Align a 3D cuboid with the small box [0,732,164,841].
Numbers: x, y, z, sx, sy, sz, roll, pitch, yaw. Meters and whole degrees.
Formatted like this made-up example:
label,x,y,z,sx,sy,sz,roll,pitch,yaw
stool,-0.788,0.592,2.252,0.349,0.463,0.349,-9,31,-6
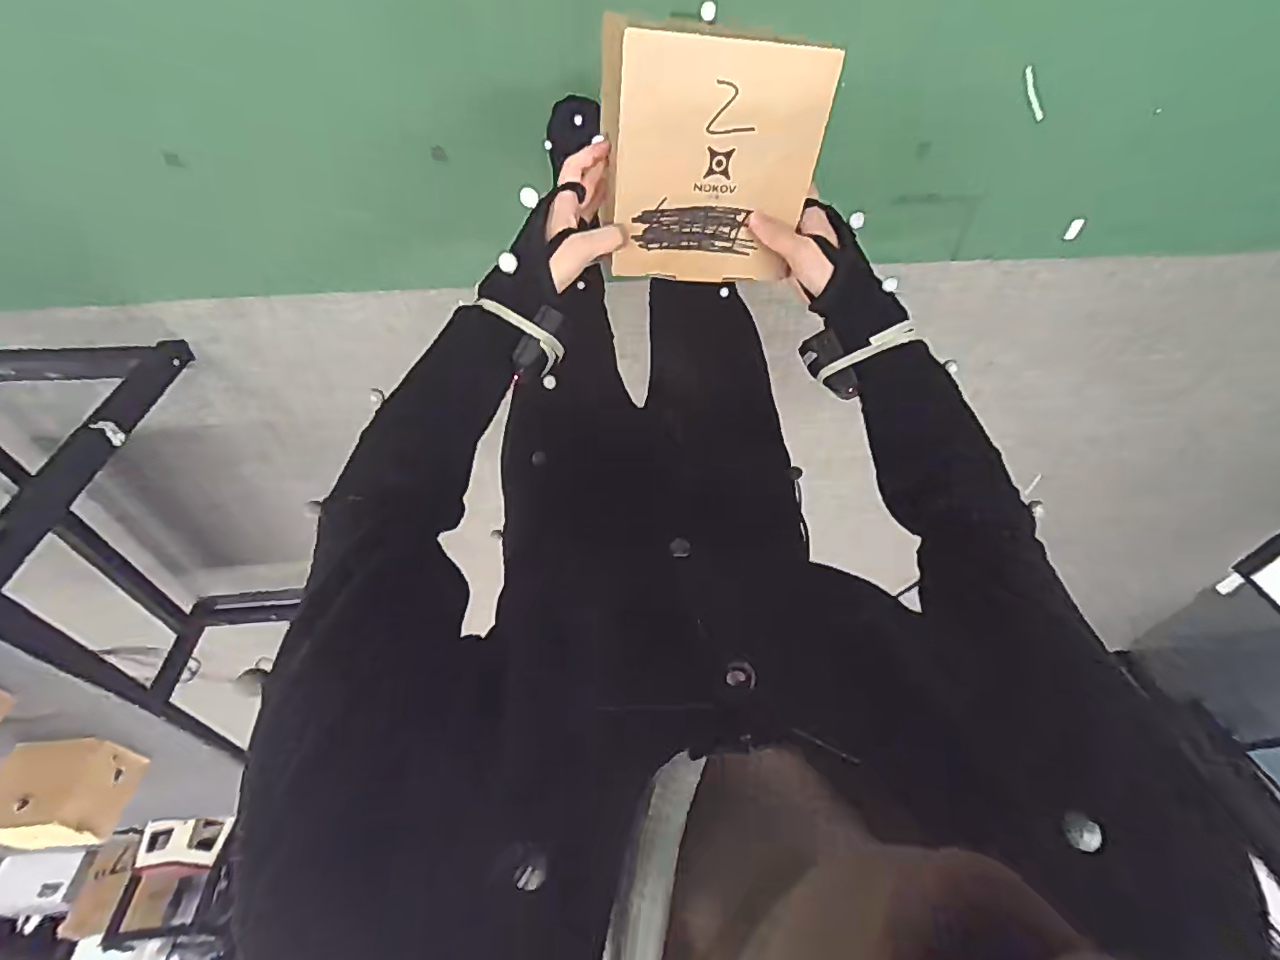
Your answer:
label,x,y,z,sx,sy,sz,roll,pitch,yaw
small box,-1.215,0.666,1.180,0.179,0.176,0.168,-3,136,-3
